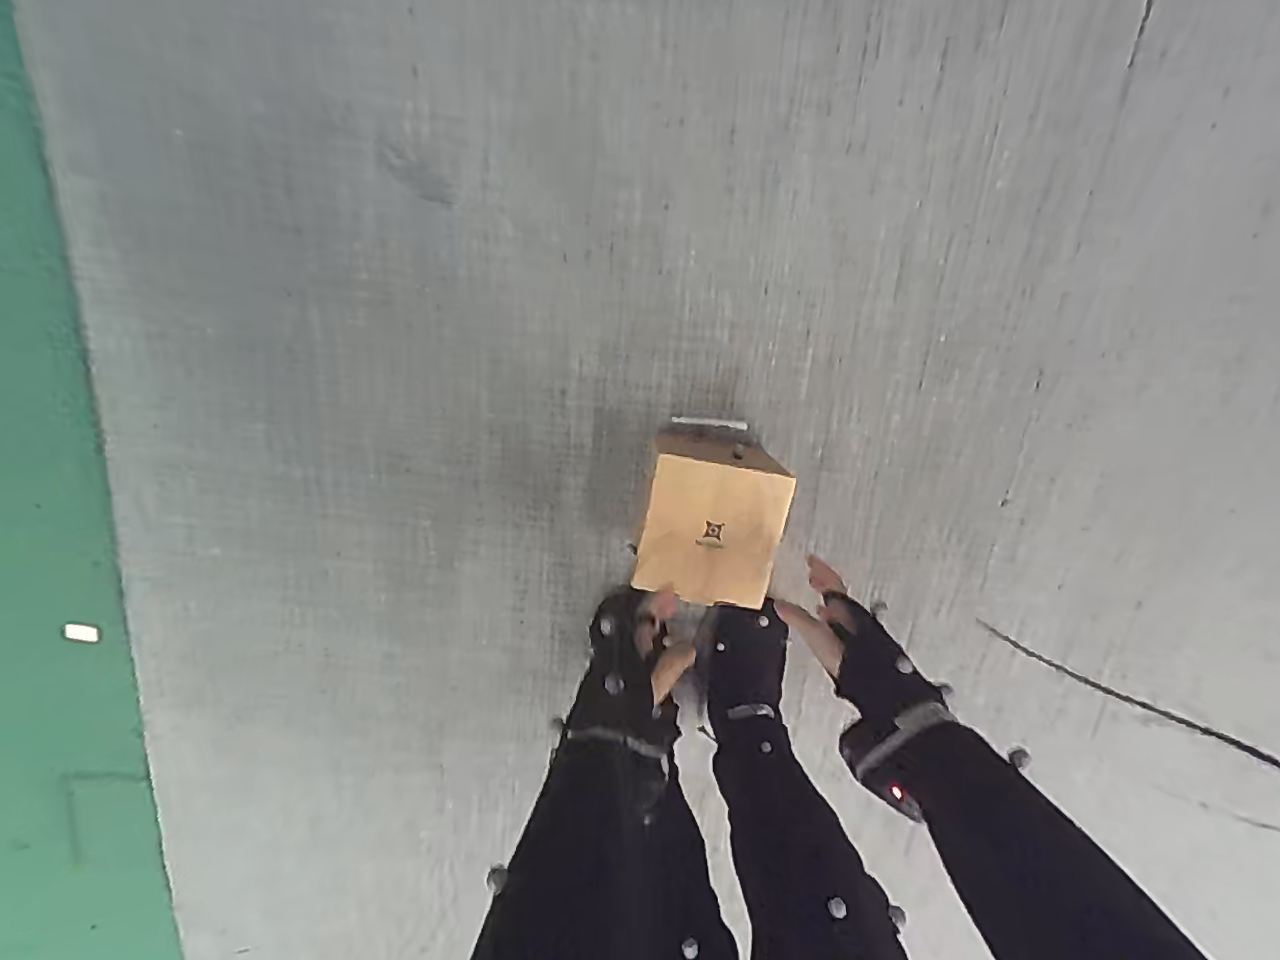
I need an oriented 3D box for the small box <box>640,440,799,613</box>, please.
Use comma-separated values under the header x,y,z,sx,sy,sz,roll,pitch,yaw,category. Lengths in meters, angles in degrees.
x,y,z,sx,sy,sz,roll,pitch,yaw,category
0.094,0.052,0.736,0.168,0.176,0.179,11,105,-3,small box
